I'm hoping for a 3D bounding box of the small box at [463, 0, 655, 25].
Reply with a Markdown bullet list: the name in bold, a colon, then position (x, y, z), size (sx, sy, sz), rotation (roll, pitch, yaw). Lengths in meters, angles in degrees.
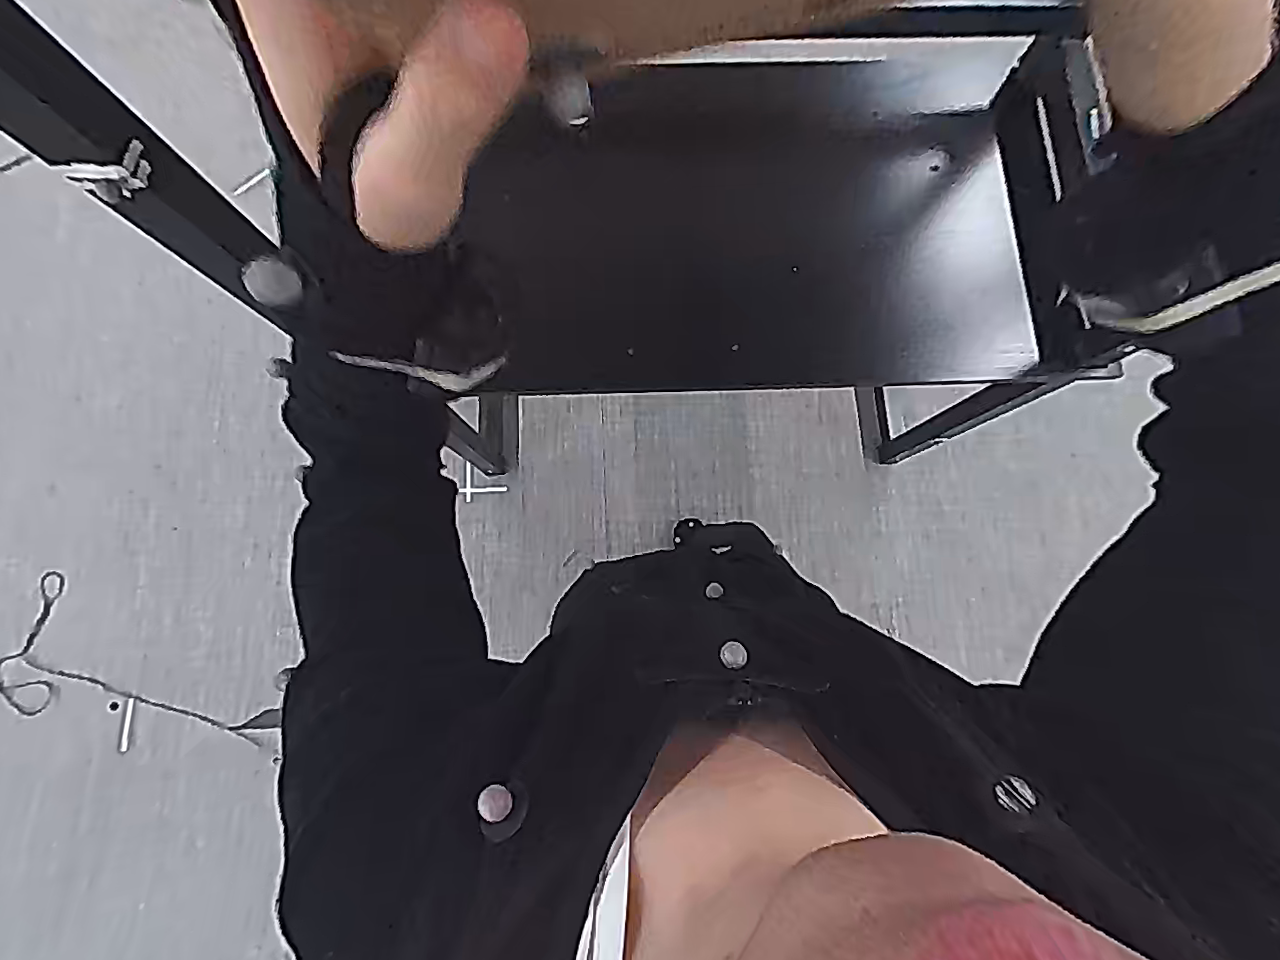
- **small box**: position (0.015, -0.175, 0.043), size (0.168, 0.176, 0.179), rotation (-9, 115, 5)
